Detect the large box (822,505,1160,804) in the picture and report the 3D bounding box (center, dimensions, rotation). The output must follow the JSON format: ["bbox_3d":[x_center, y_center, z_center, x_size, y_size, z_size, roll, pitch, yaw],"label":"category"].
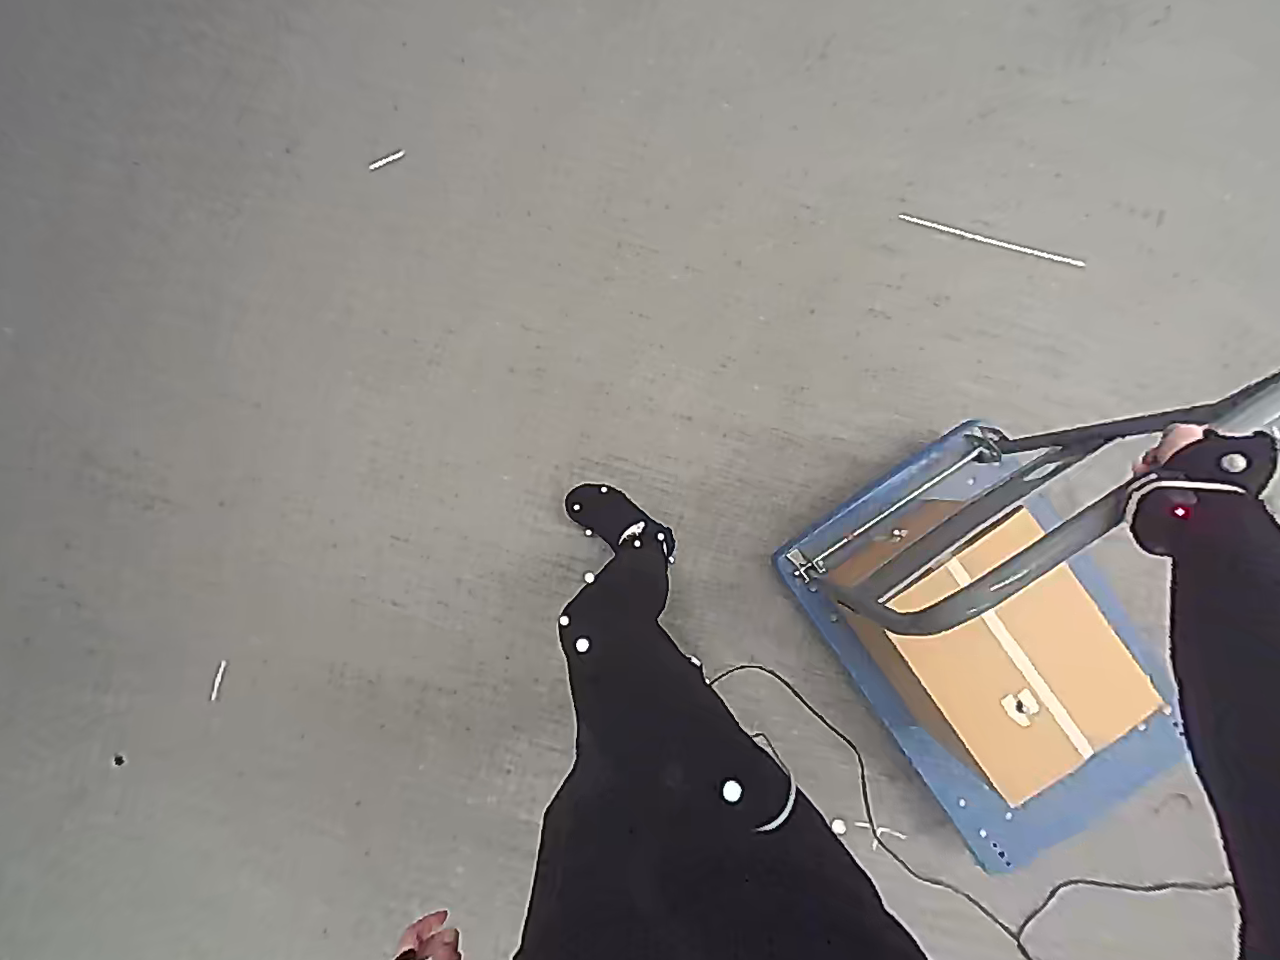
[{"bbox_3d":[0.634,0.298,1.054,0.320,0.320,0.408,-35,90,1],"label":"large box"}]
